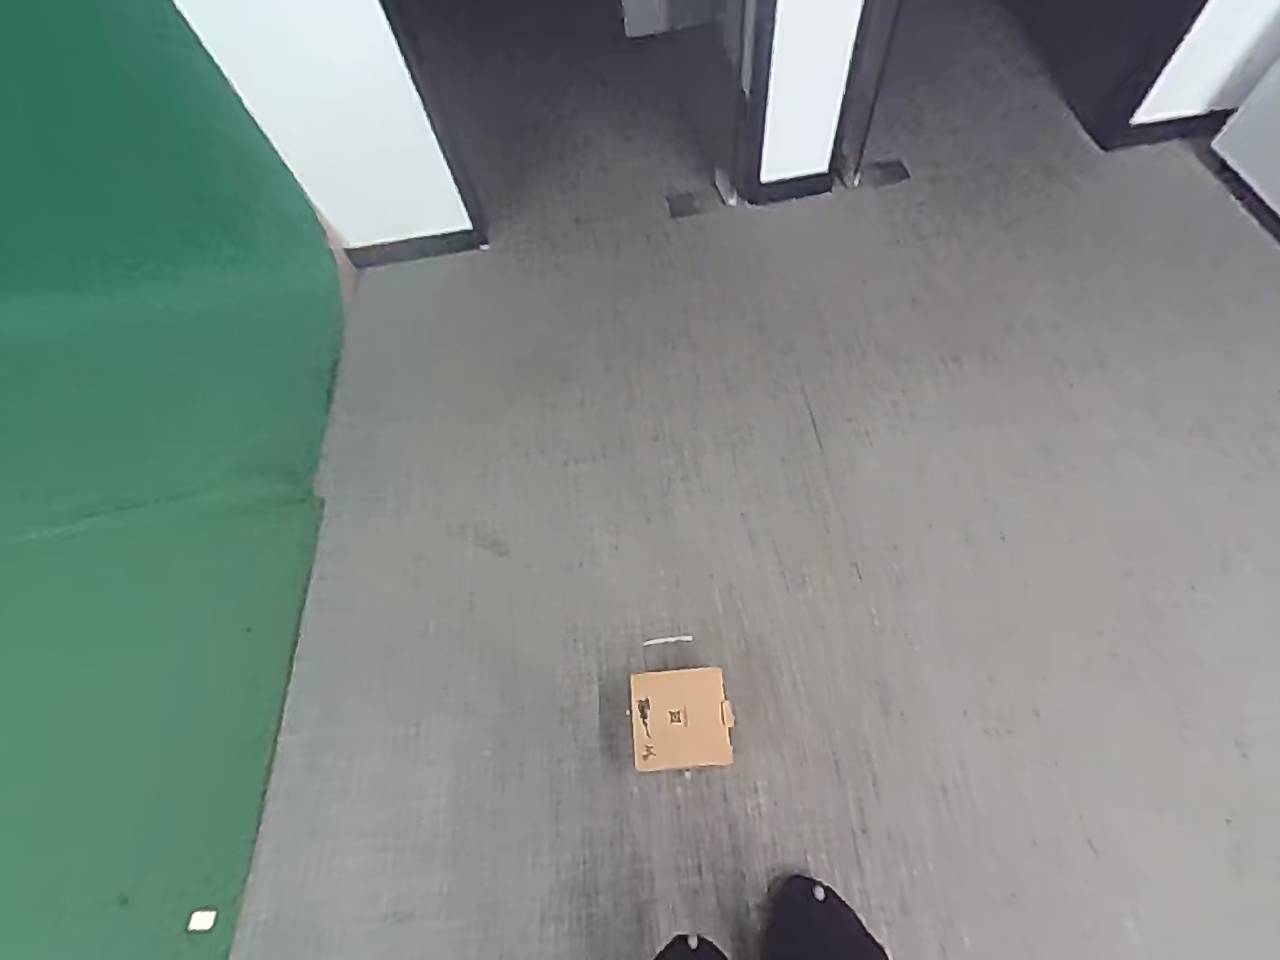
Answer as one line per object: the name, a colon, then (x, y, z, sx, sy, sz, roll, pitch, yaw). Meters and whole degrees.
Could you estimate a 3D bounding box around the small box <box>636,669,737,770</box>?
small box: (0.089, 0.470, 1.056, 0.179, 0.176, 0.168, -5, 61, 5)
